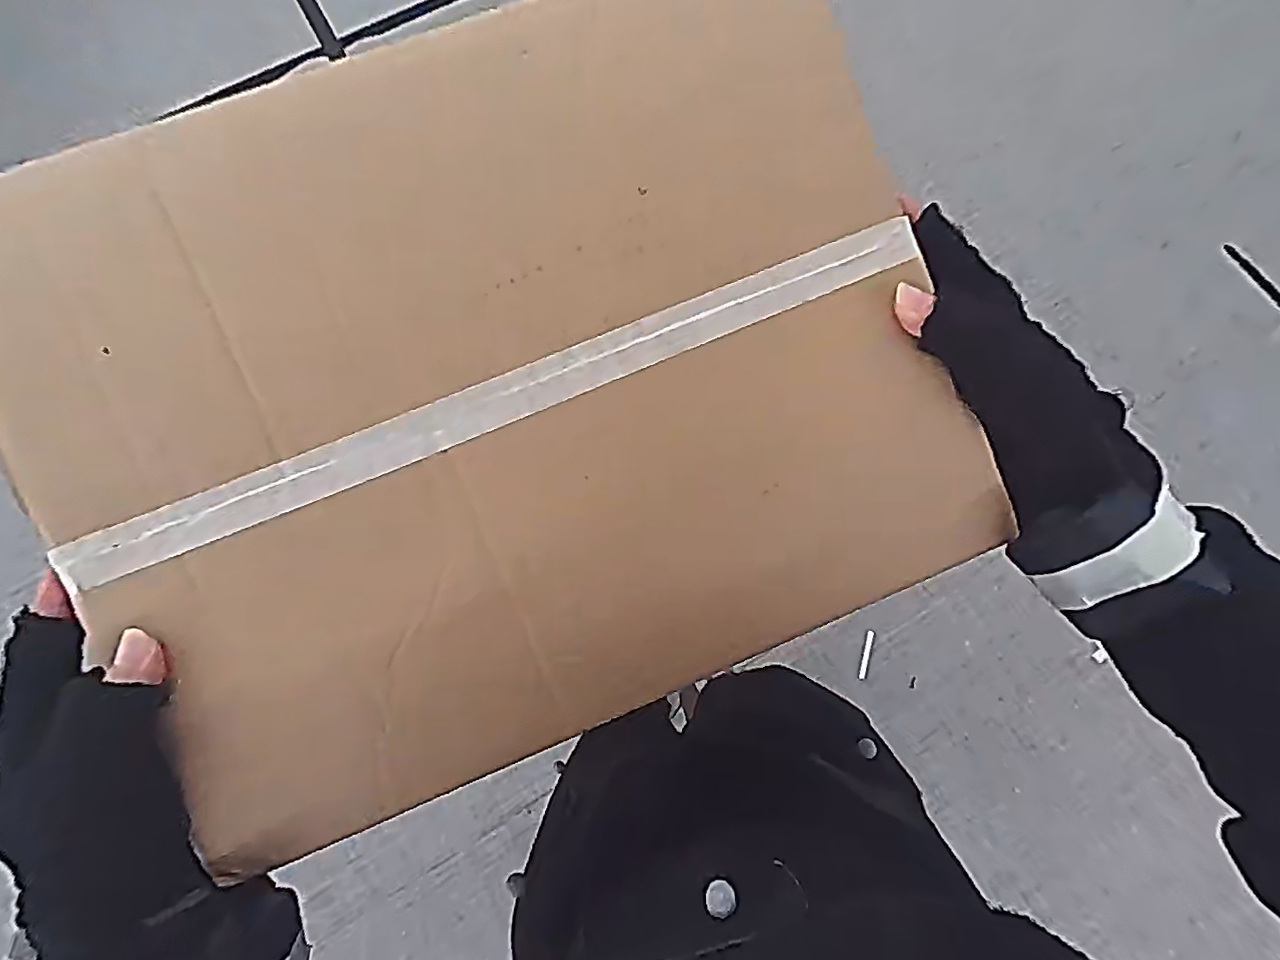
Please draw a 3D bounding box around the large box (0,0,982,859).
[{"bbox_3d":[-0.070,-0.045,0.404,0.408,0.320,0.320,-22,94,-4],"label":"large box"}]
